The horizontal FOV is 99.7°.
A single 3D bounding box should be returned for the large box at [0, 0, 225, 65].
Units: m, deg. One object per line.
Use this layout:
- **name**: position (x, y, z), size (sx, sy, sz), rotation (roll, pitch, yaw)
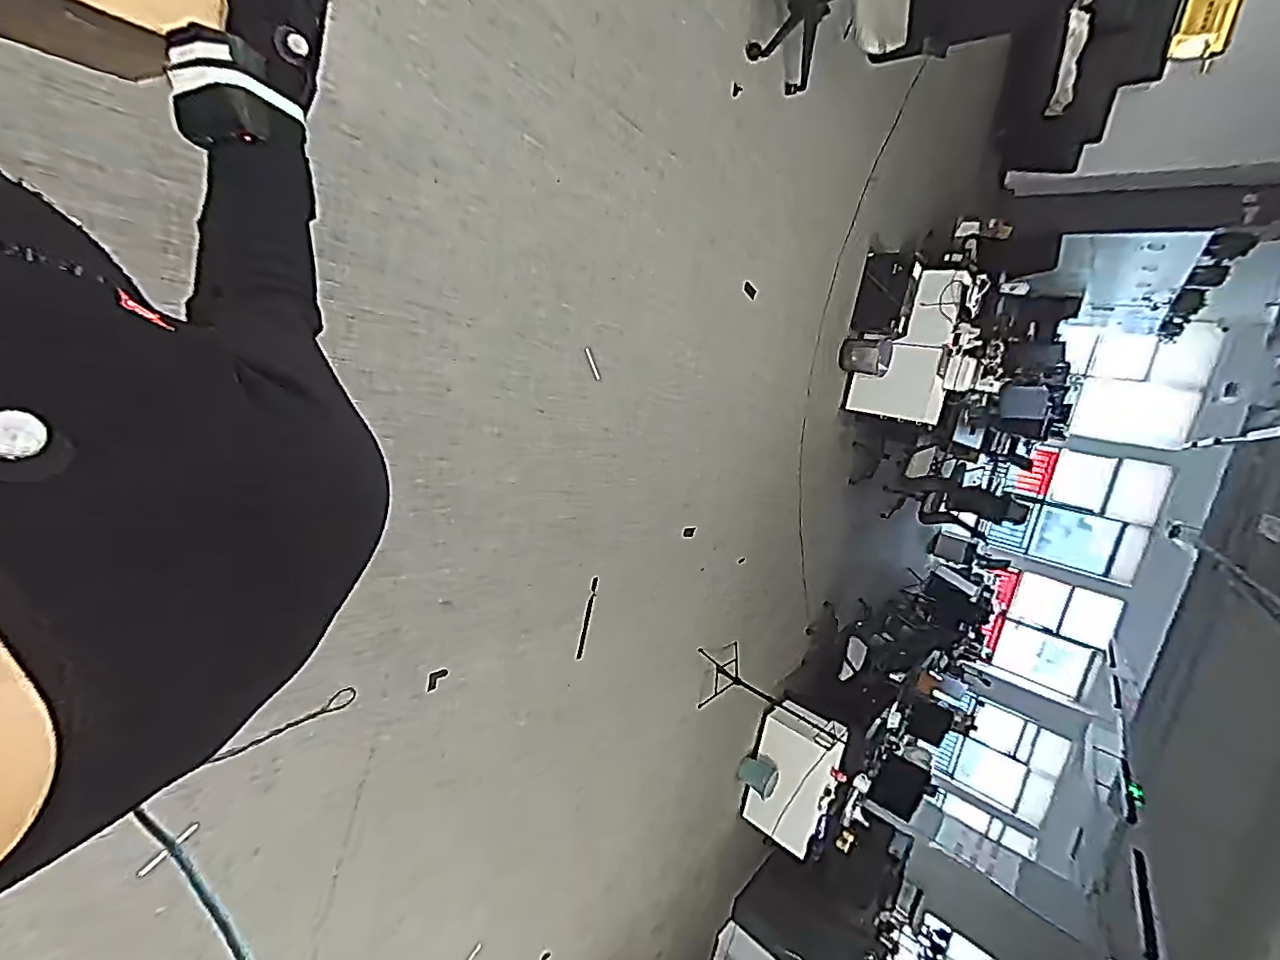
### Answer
- **large box**: position (-0.516, -0.493, 0.285), size (0.408, 0.320, 0.320), rotation (-10, 121, -51)
